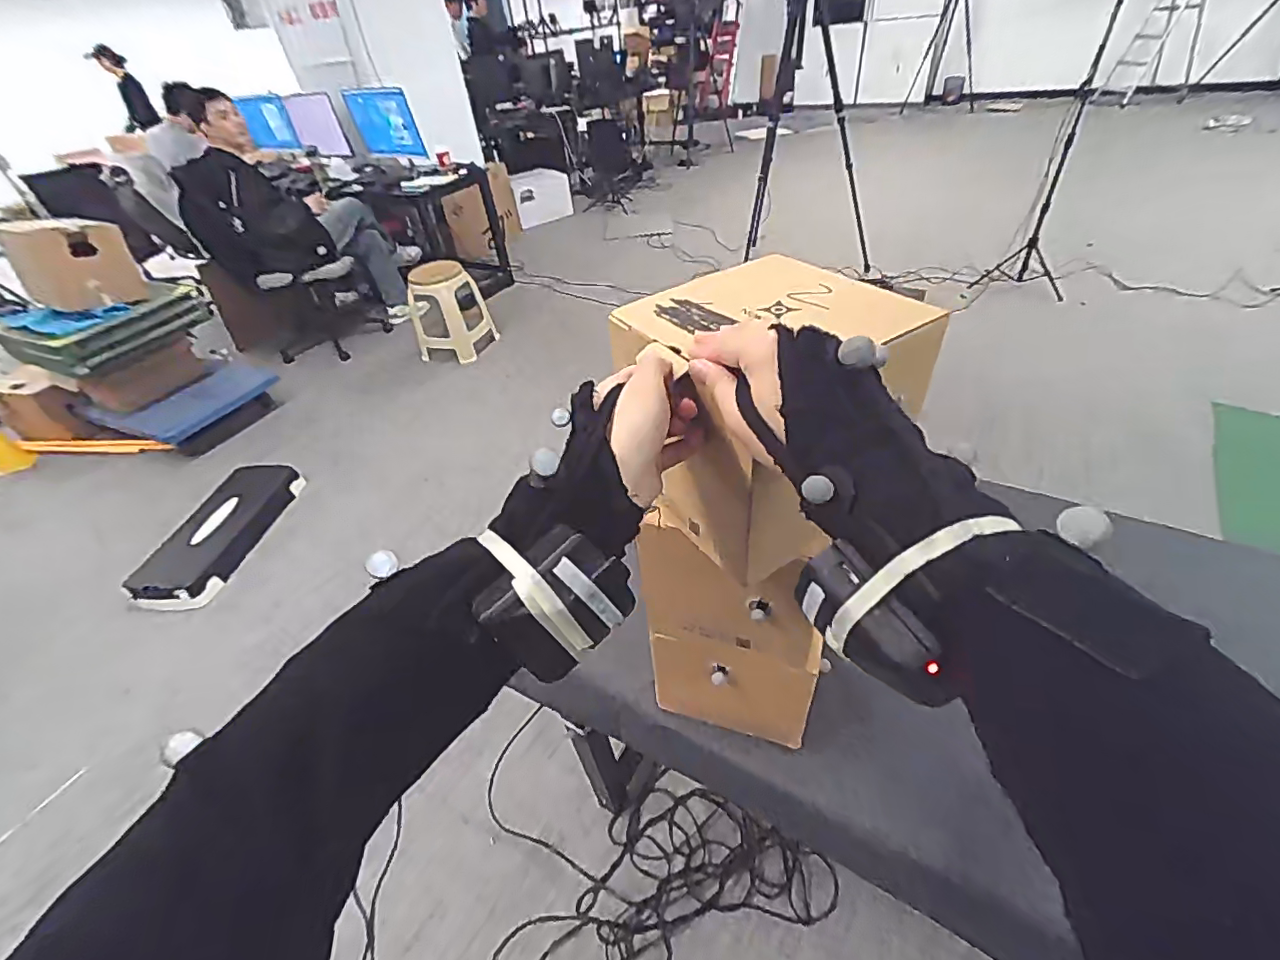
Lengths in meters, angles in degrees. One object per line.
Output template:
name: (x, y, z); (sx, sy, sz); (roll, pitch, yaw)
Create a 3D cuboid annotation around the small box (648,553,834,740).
small box: (0.124, 0.184, 0.651); (0.179, 0.176, 0.168); (9, 43, 19)

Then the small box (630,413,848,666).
small box: (0.105, 0.057, 0.552); (0.168, 0.176, 0.179); (12, 42, 20)
